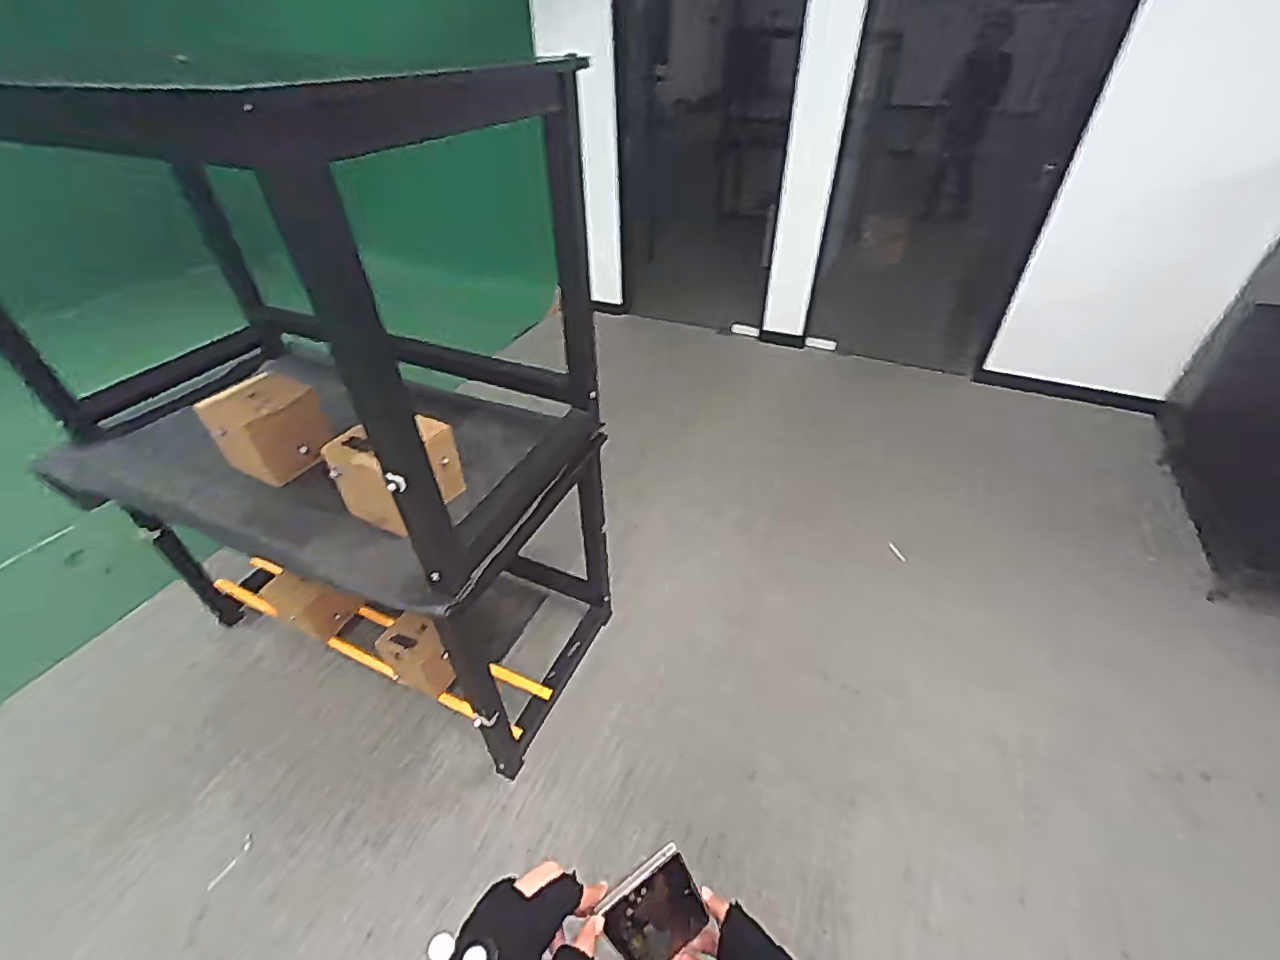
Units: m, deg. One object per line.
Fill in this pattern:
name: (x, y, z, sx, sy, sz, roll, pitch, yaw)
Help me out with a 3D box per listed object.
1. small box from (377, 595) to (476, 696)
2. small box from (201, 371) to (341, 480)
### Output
small box: (-0.578, 0.459, 1.493, 0.168, 0.176, 0.179, 19, 44, 22)
small box: (-0.824, -0.123, 1.223, 0.179, 0.176, 0.168, 18, 44, 22)
